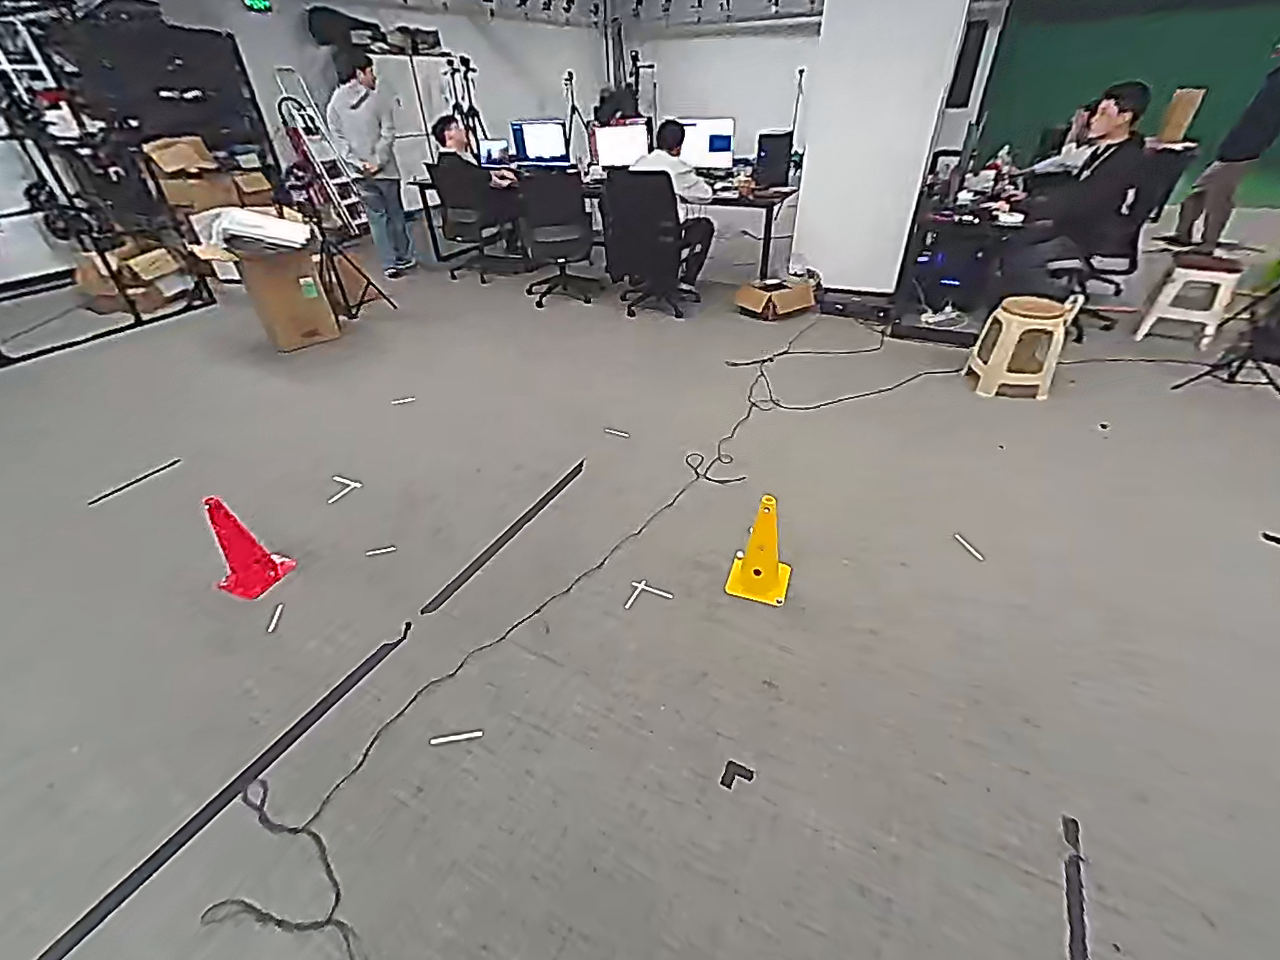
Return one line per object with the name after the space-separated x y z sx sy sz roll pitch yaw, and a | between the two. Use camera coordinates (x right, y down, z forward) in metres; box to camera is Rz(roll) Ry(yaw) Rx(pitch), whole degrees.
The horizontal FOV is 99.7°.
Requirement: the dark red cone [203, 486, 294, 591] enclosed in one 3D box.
-1.422 0.189 1.896 0.201 0.394 0.202 12 38 17 | dark red cone
